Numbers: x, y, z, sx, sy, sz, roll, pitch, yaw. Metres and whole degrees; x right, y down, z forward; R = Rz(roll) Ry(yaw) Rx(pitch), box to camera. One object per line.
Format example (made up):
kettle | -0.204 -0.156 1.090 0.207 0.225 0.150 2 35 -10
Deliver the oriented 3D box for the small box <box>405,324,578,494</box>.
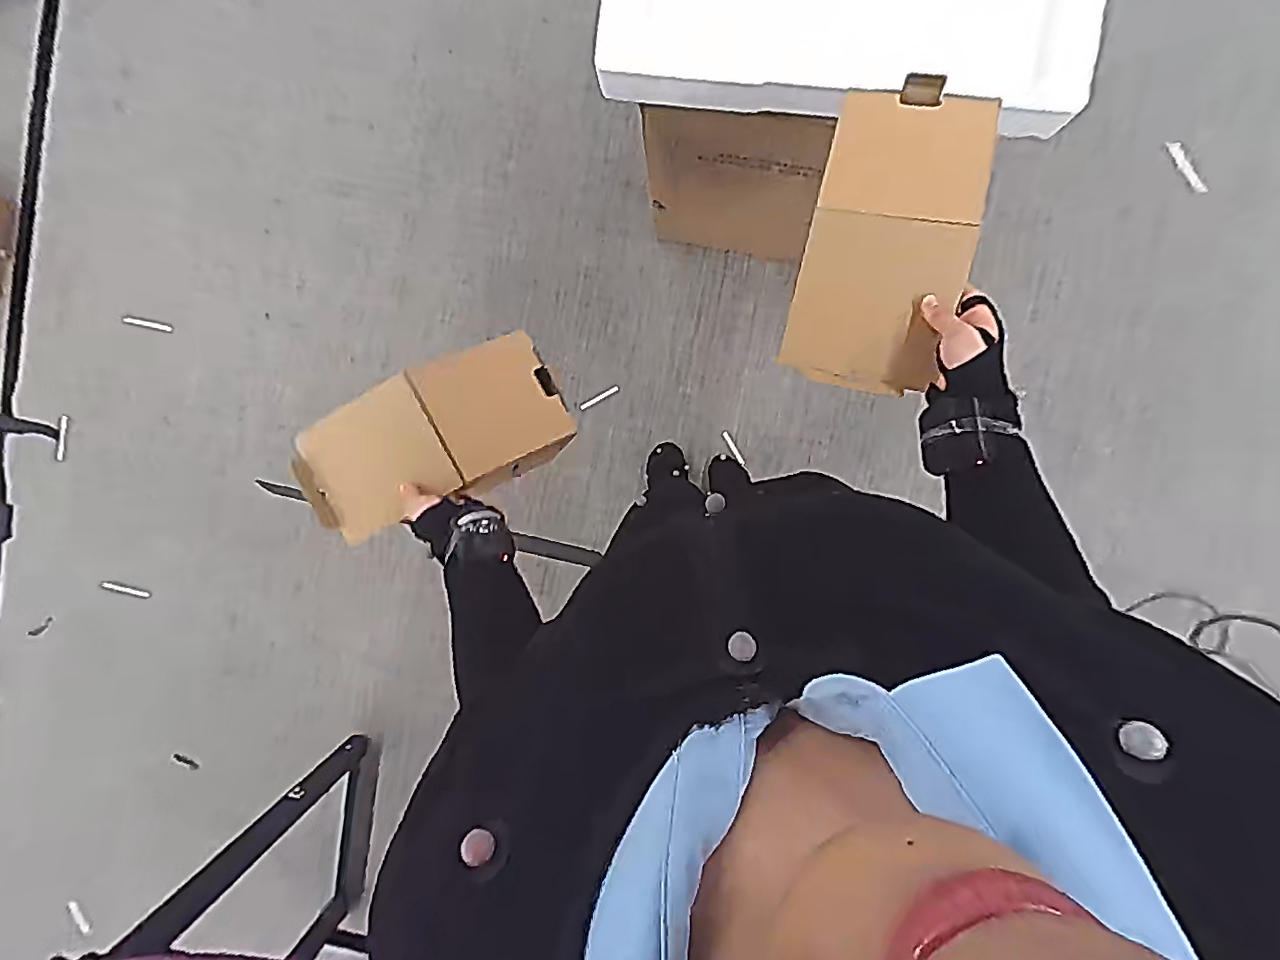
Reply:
small box | -0.218 -0.094 0.780 0.179 0.176 0.168 -27 91 -26
